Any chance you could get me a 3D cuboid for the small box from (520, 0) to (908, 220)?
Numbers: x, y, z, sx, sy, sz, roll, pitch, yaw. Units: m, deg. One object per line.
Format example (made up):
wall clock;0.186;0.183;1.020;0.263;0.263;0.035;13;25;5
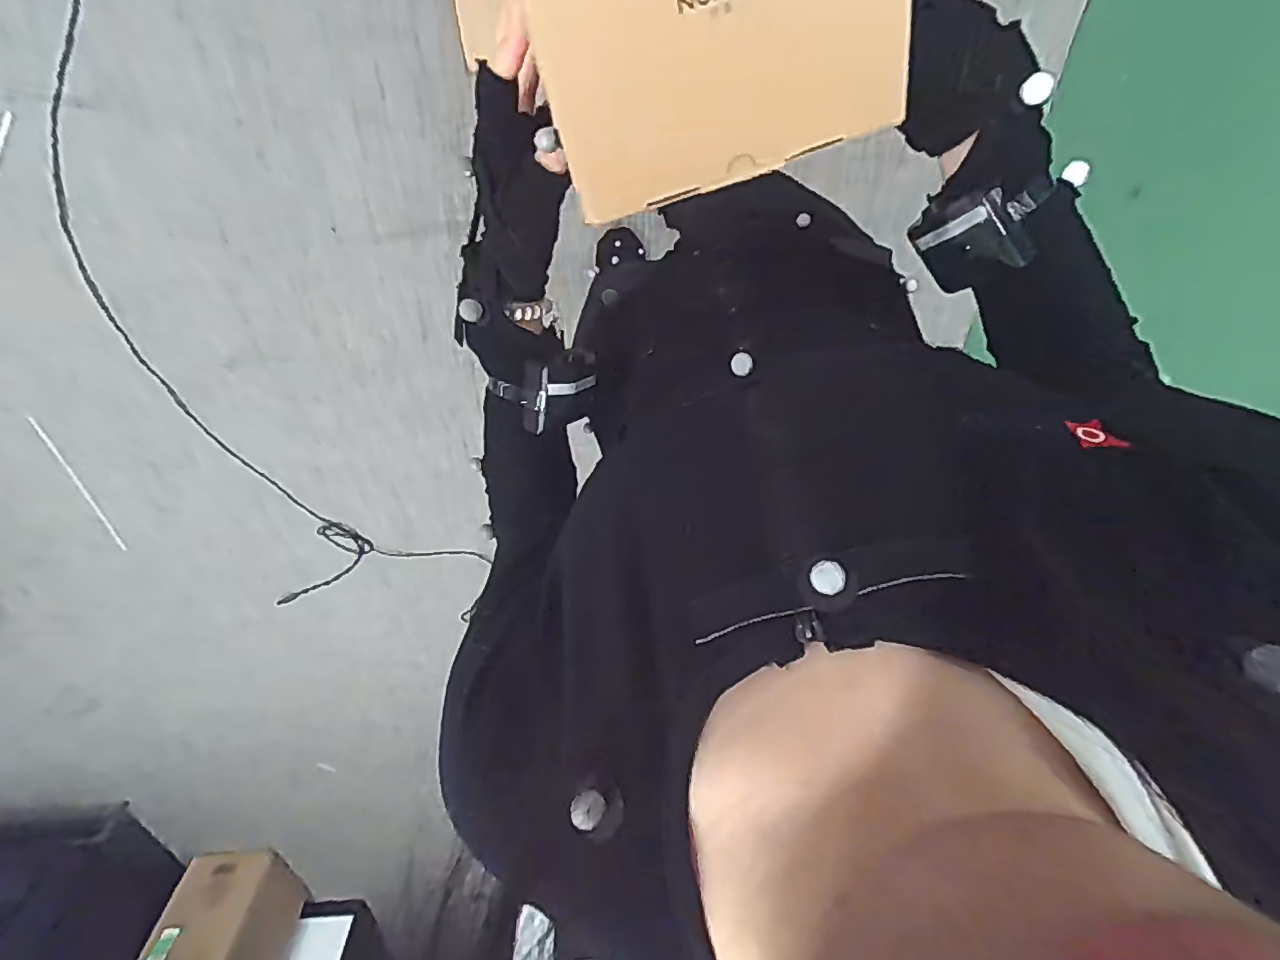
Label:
small box;0.019;-0.269;0.280;0.168;0.176;0.179;-17;131;6
